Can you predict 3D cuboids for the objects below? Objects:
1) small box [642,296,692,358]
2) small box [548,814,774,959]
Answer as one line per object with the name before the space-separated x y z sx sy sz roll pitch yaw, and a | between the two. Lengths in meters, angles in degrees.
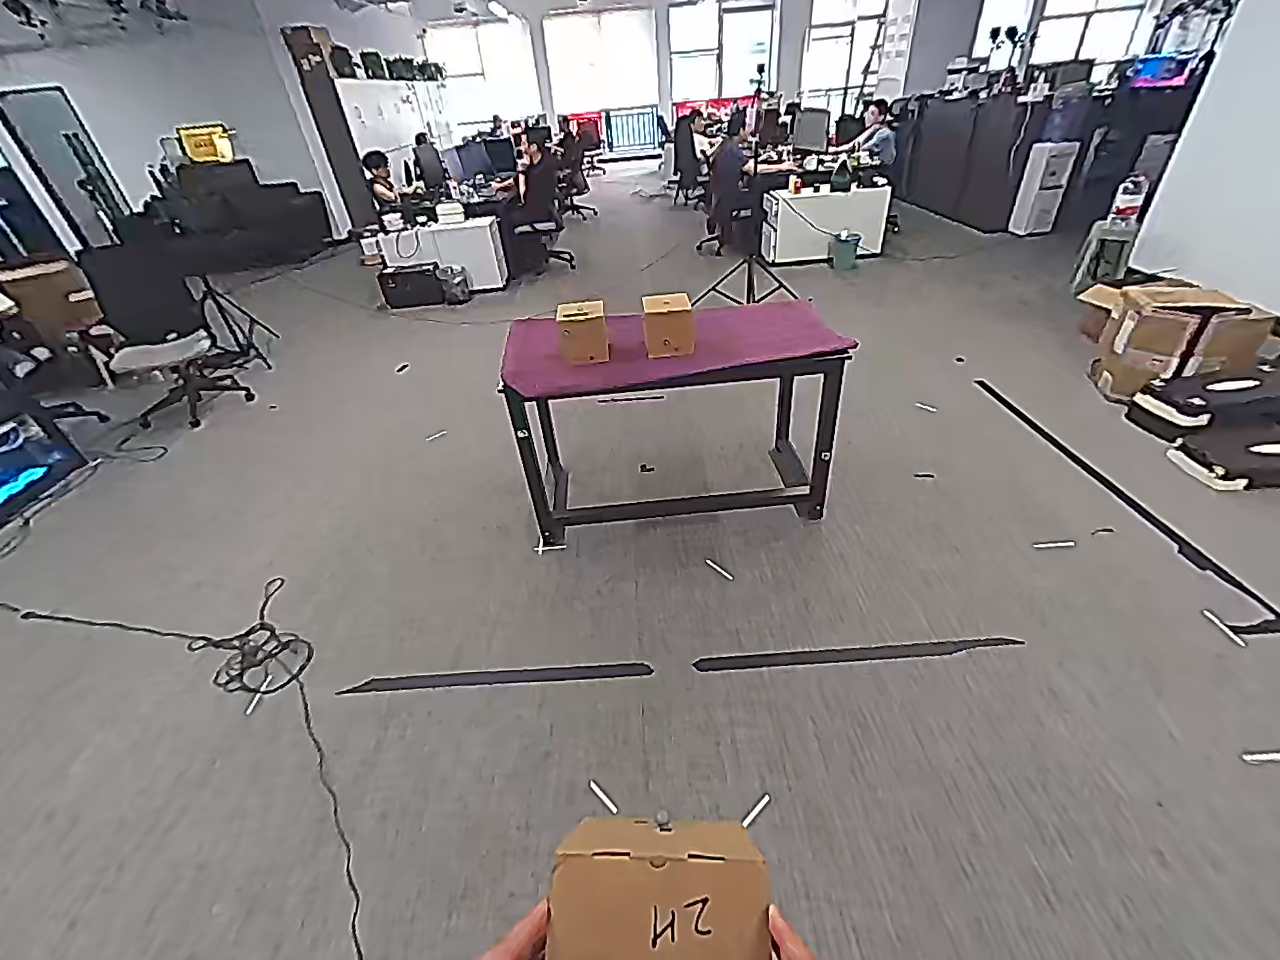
small box | 0.098 -0.556 1.965 0.168 0.176 0.179 -6 36 0
small box | 0.020 0.396 0.452 0.168 0.176 0.179 0 65 4
